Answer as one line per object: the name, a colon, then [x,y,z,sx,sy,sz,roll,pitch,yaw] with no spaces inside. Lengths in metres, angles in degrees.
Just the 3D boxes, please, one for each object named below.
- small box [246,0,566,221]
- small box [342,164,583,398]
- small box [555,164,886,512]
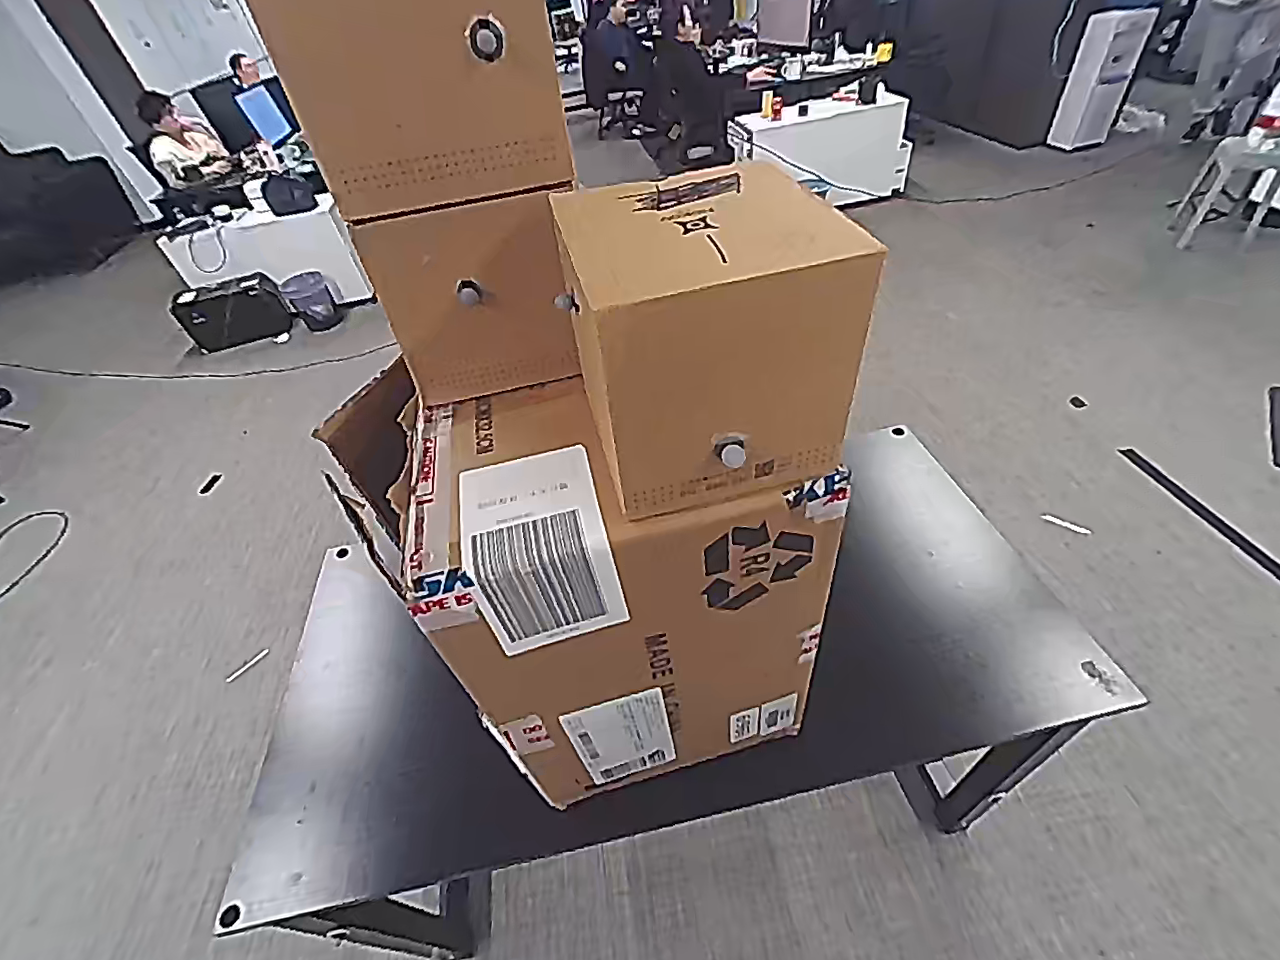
small box: [-0.160,-0.316,0.406,0.179,0.176,0.168,-16,42,-7]
small box: [-0.145,-0.199,0.518,0.179,0.176,0.168,-14,42,-6]
small box: [0.041,-0.105,0.396,0.168,0.176,0.179,-14,46,-6]
